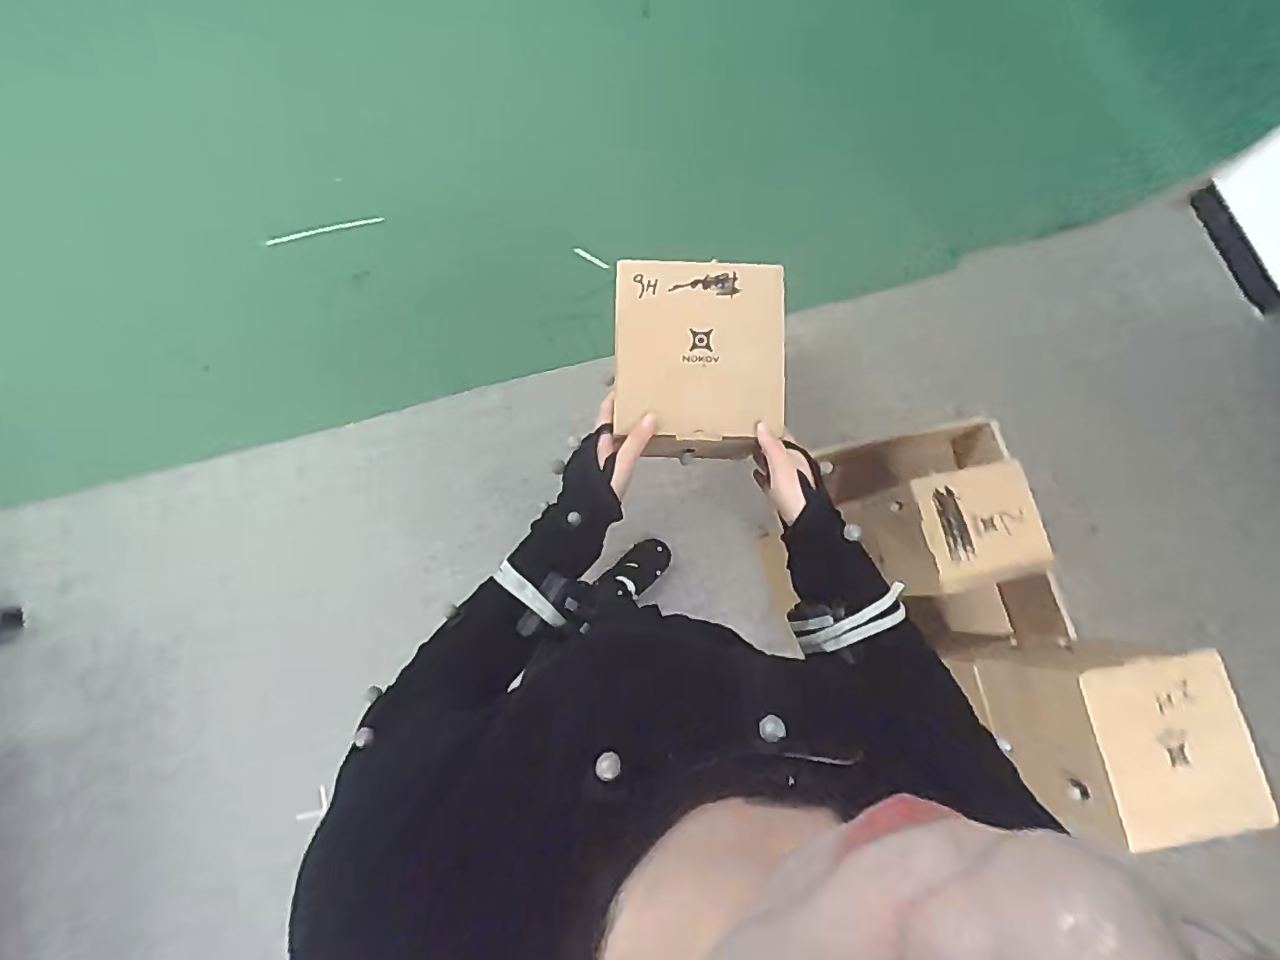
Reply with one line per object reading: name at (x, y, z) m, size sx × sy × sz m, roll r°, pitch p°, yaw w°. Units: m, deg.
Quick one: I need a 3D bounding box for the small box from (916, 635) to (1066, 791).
small box at (0.544, 0.326, 0.790) m, size 0.179 × 0.176 × 0.168 m, roll -9°, pitch 77°, yaw -2°

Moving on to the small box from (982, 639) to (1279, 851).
small box at (0.544, 0.289, 0.629) m, size 0.168 × 0.176 × 0.179 m, roll -7°, pitch 77°, yaw -3°

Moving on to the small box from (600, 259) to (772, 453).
small box at (0.044, -0.123, 0.600) m, size 0.168 × 0.176 × 0.179 m, roll 0°, pitch 87°, yaw -2°
